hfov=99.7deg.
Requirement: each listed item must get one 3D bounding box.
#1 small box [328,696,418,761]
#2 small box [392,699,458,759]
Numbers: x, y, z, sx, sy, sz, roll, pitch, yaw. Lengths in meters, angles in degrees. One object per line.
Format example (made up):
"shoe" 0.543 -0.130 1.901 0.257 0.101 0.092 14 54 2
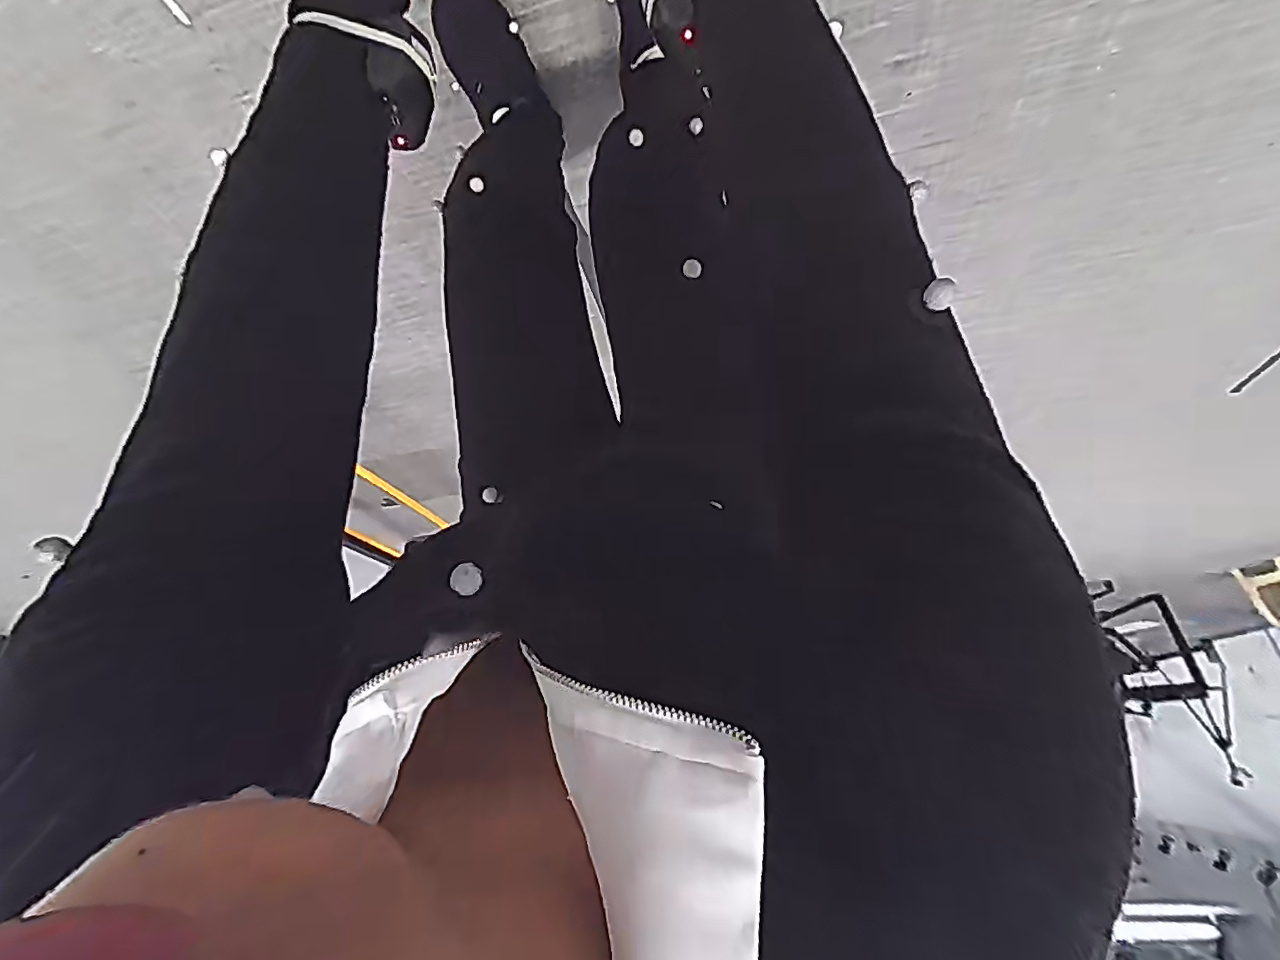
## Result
"small box" -0.804 0.755 1.643 0.168 0.176 0.179 -8 153 10
"small box" -0.739 0.845 1.833 0.179 0.176 0.168 -10 154 11
